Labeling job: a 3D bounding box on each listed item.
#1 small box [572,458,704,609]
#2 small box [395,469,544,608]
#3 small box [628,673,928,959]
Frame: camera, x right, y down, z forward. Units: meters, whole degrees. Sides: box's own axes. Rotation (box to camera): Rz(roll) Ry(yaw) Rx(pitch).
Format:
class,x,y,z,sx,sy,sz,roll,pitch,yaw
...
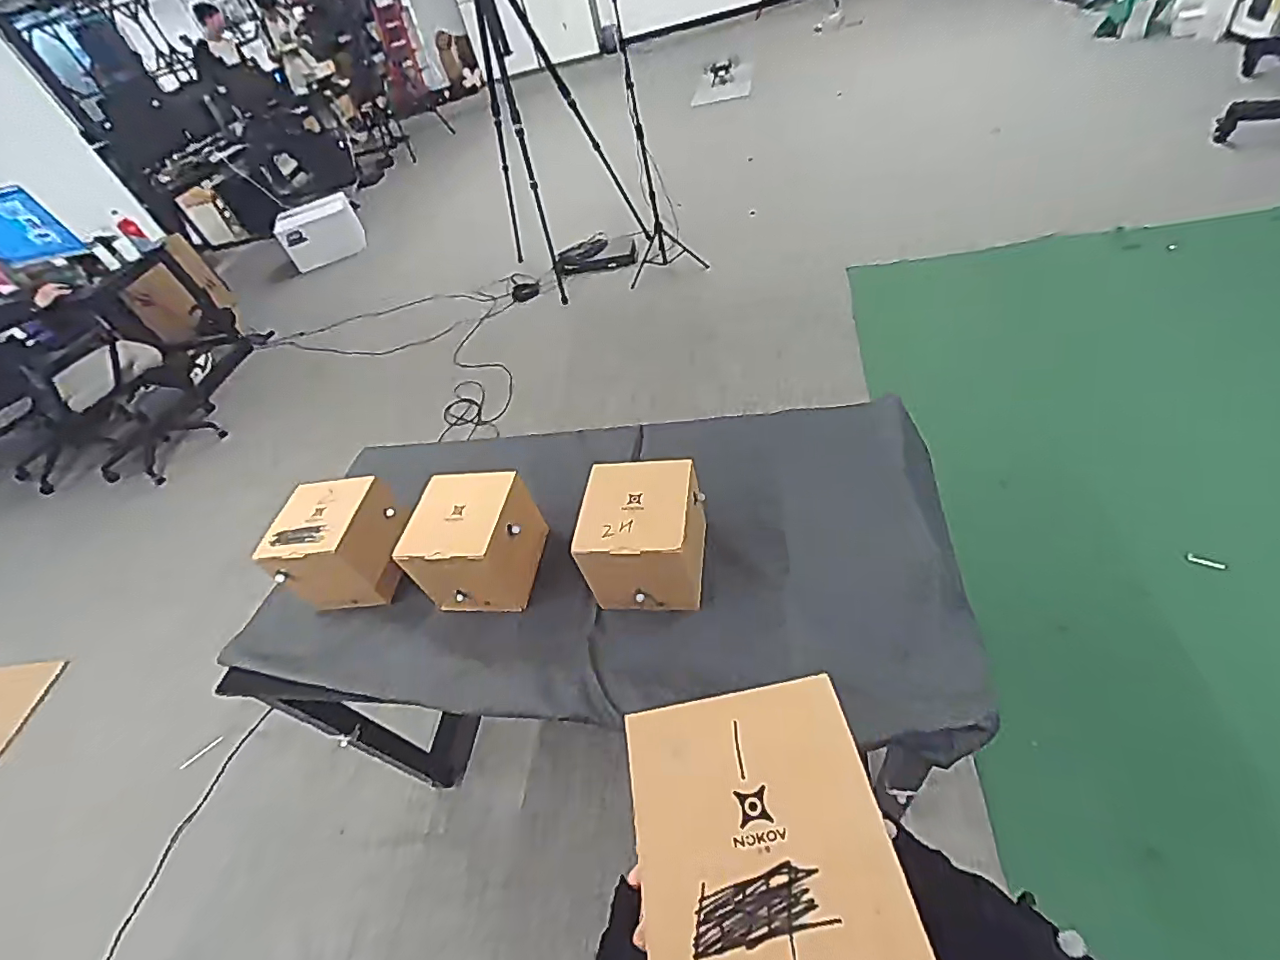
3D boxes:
class,x,y,z,sx,sy,sz,roll,pitch,yaw
small box,0.009,0.085,0.867,0.168,0.176,0.179,-2,48,15
small box,-0.280,0.101,0.938,0.168,0.176,0.179,-2,49,14
small box,0.095,0.281,0.428,0.168,0.176,0.179,-13,47,4
